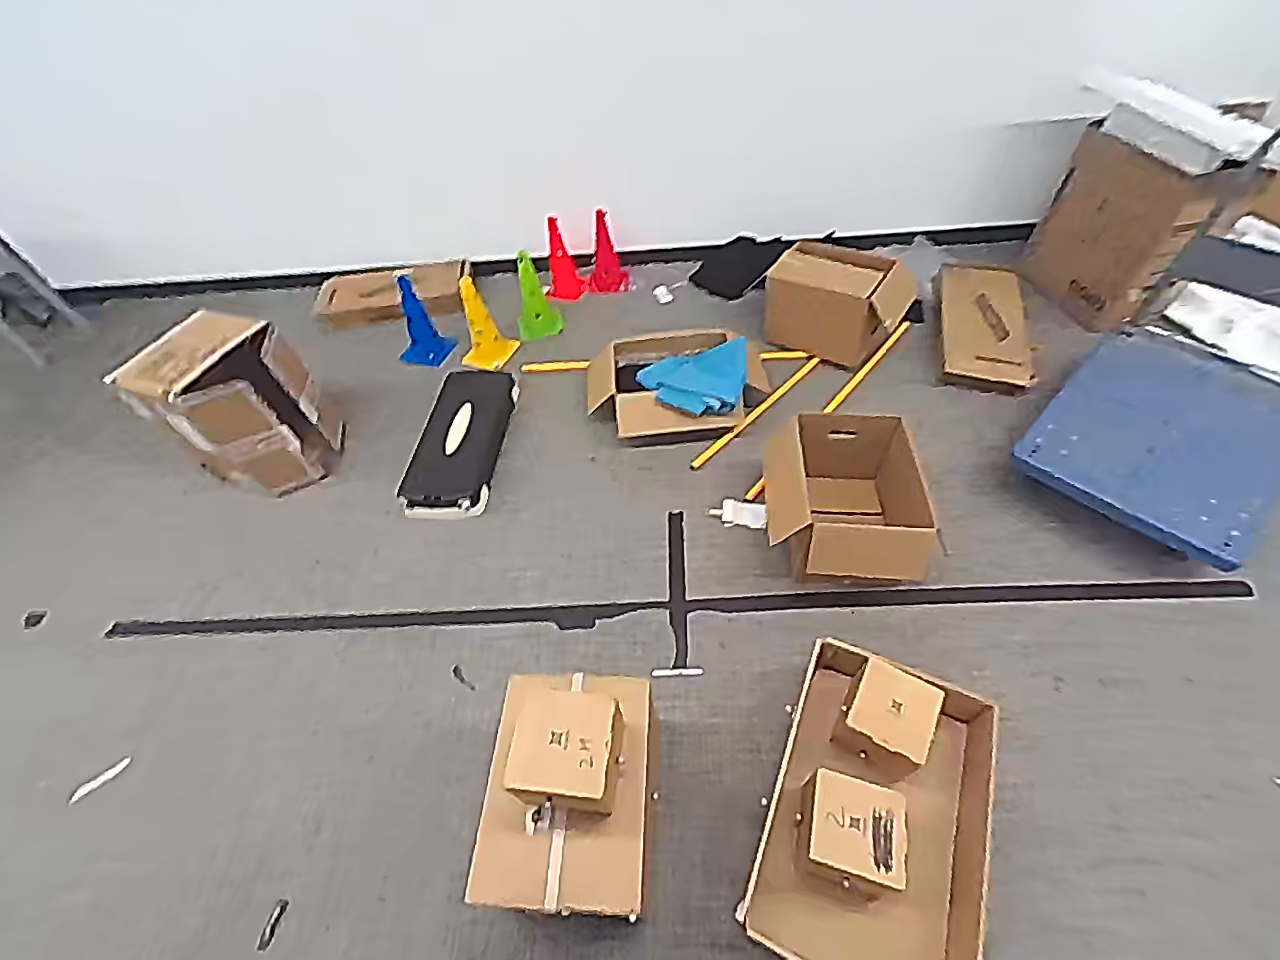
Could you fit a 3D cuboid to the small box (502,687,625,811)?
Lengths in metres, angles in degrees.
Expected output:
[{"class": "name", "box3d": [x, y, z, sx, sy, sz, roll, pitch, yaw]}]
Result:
[{"class": "small box", "box3d": [-0.130, 0.496, 0.993, 0.179, 0.176, 0.168, 3, 52, 7]}]

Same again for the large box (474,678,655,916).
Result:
[{"class": "large box", "box3d": [-0.125, 0.677, 1.166, 0.320, 0.320, 0.408, -2, 52, 5]}]
